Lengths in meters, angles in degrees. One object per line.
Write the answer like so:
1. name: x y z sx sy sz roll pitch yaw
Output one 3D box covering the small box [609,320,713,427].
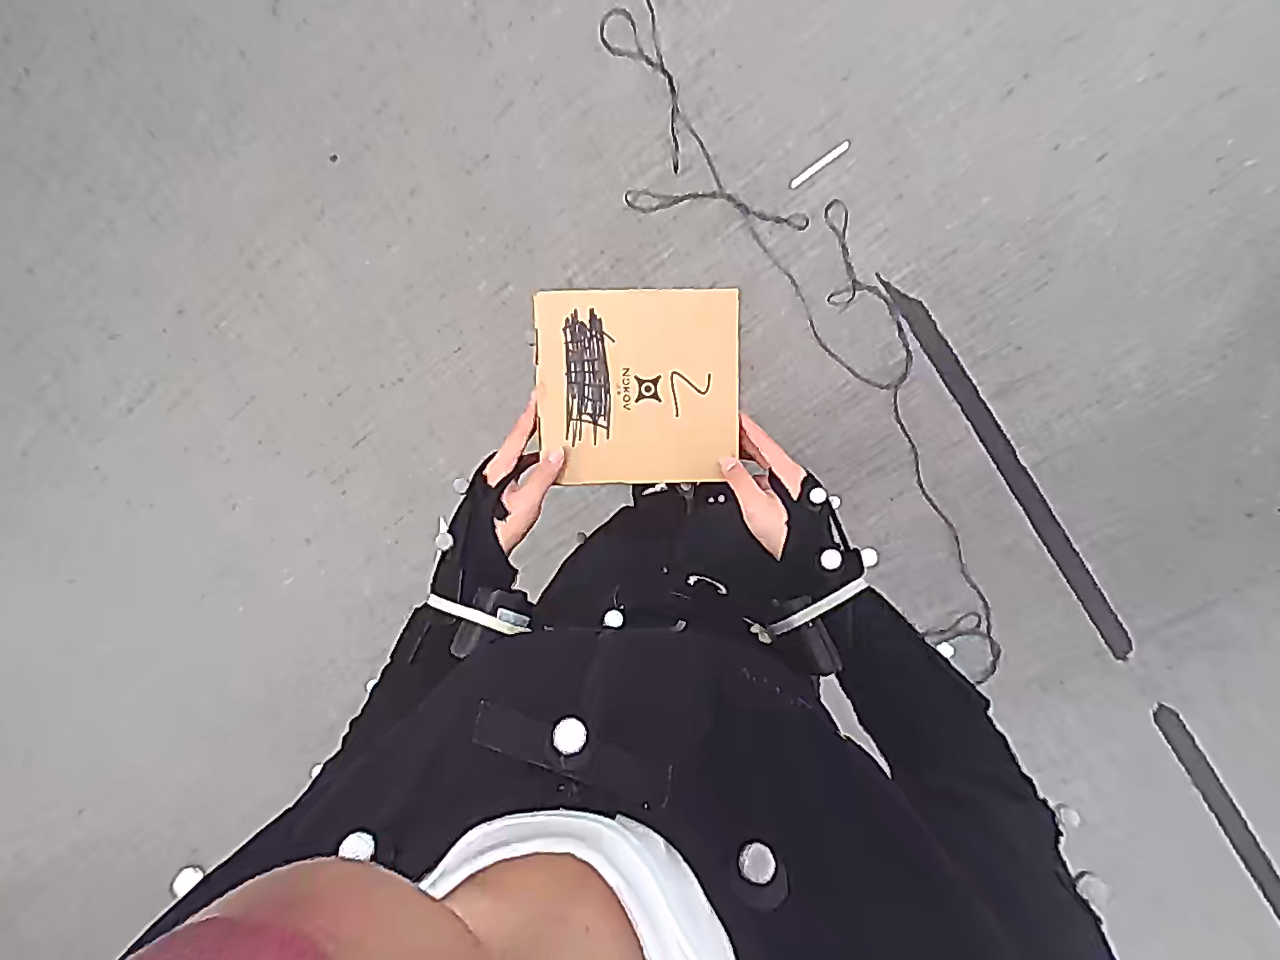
1. small box: 0.054 -0.237 1.223 0.168 0.176 0.179 -26 95 14
